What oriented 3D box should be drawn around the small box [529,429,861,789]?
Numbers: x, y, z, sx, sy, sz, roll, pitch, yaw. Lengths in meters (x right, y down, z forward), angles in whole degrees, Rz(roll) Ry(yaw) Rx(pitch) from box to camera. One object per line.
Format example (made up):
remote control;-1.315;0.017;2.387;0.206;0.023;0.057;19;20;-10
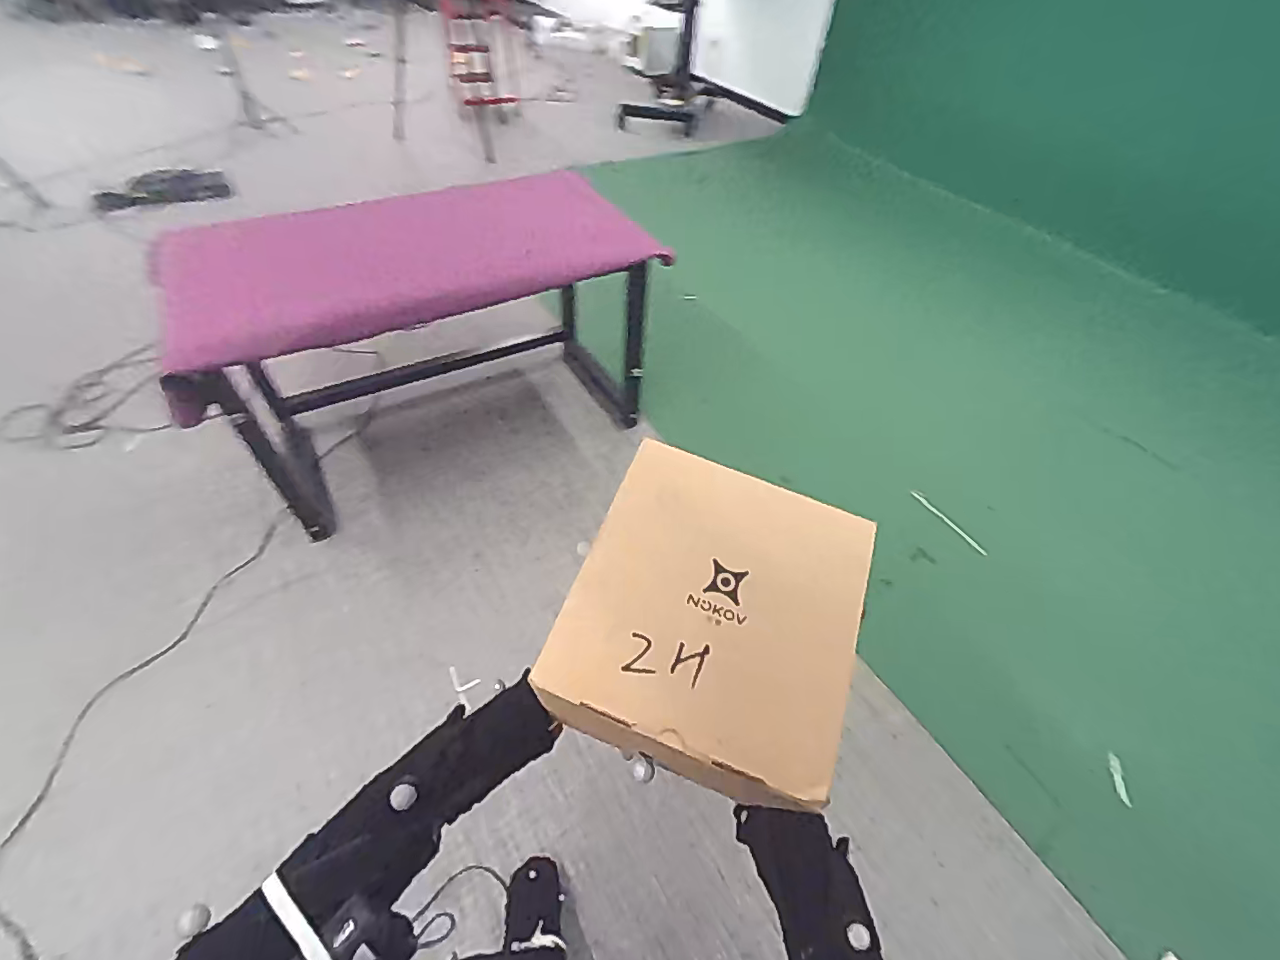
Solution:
small box;0.035;0.100;0.394;0.168;0.176;0.179;20;61;6
